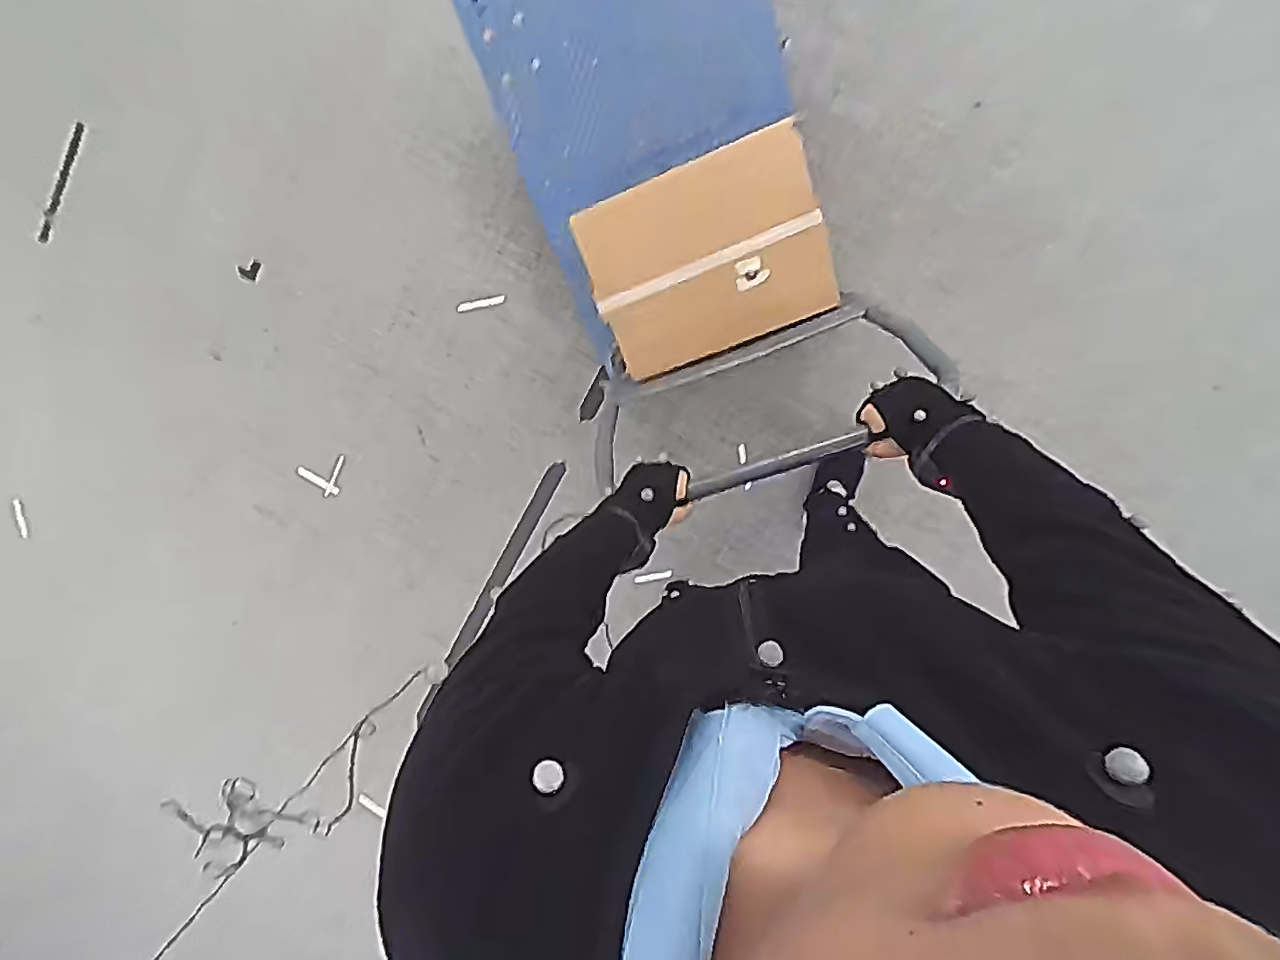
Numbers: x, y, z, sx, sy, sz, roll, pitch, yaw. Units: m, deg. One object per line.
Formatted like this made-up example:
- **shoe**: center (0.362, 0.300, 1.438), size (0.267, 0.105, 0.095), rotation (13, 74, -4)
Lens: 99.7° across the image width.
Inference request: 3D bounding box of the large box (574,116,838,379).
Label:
- **large box**: center (0.126, -0.451, 1.105), size (0.408, 0.320, 0.320), rotation (-21, 112, 11)
